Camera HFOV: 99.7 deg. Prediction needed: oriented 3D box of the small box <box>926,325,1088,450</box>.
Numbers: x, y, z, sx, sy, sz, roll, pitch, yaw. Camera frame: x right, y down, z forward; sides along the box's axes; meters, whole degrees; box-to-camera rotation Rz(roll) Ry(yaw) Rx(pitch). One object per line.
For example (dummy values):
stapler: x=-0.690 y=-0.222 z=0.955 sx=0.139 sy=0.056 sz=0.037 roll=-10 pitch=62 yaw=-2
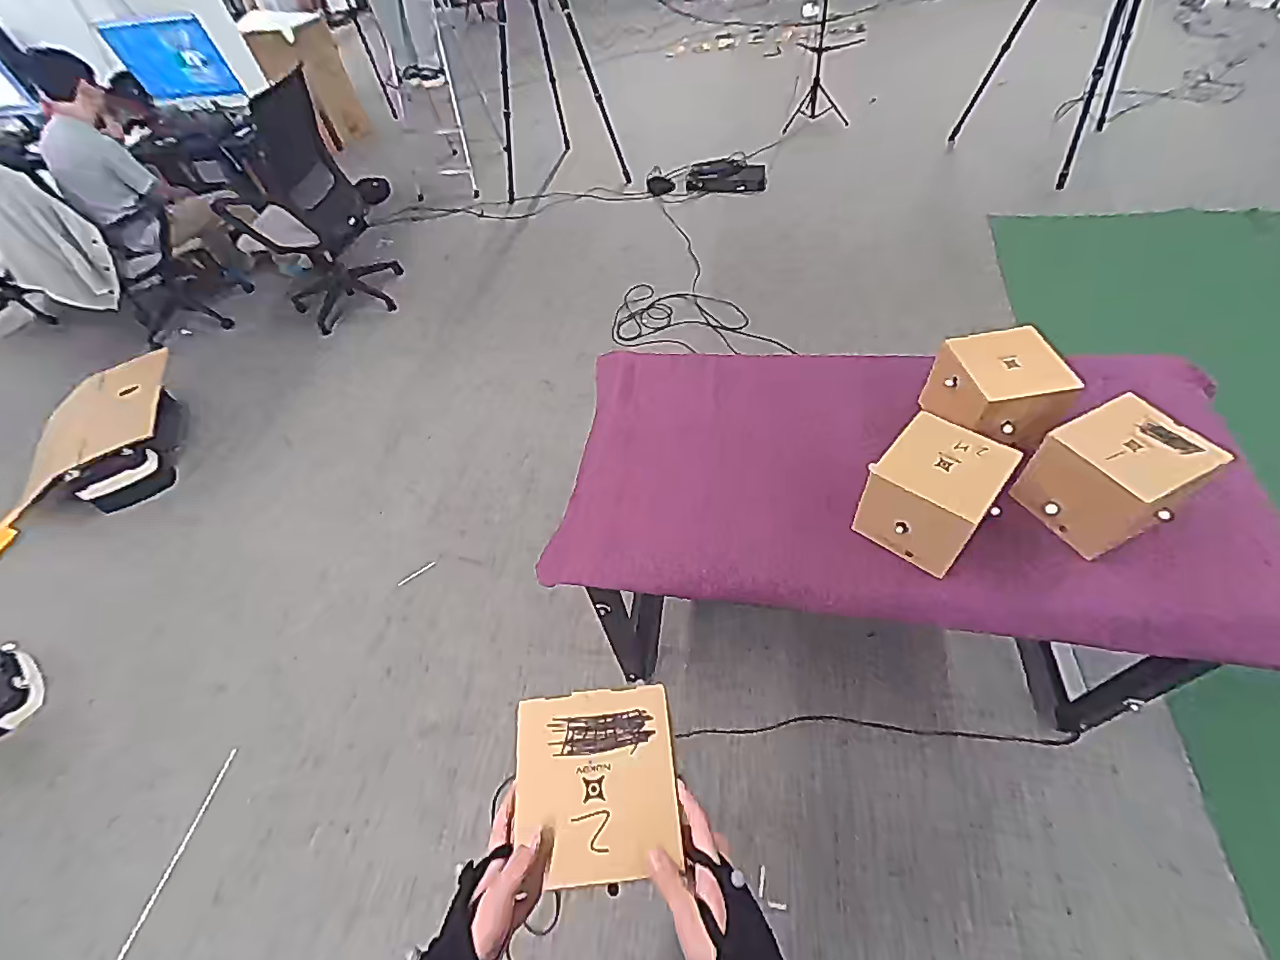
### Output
small box: x=0.676 y=-0.161 z=1.022 sx=0.168 sy=0.176 sz=0.179 roll=-8 pitch=52 yaw=2

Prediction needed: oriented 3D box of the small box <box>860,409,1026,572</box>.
small box: x=0.491 y=0.021 z=0.903 sx=0.168 sy=0.176 sz=0.179 roll=34 pitch=64 yaw=29

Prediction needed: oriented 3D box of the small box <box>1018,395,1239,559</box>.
small box: x=0.774 y=-0.002 z=0.882 sx=0.179 sy=0.176 sz=0.168 roll=-24 pitch=52 yaw=-9
